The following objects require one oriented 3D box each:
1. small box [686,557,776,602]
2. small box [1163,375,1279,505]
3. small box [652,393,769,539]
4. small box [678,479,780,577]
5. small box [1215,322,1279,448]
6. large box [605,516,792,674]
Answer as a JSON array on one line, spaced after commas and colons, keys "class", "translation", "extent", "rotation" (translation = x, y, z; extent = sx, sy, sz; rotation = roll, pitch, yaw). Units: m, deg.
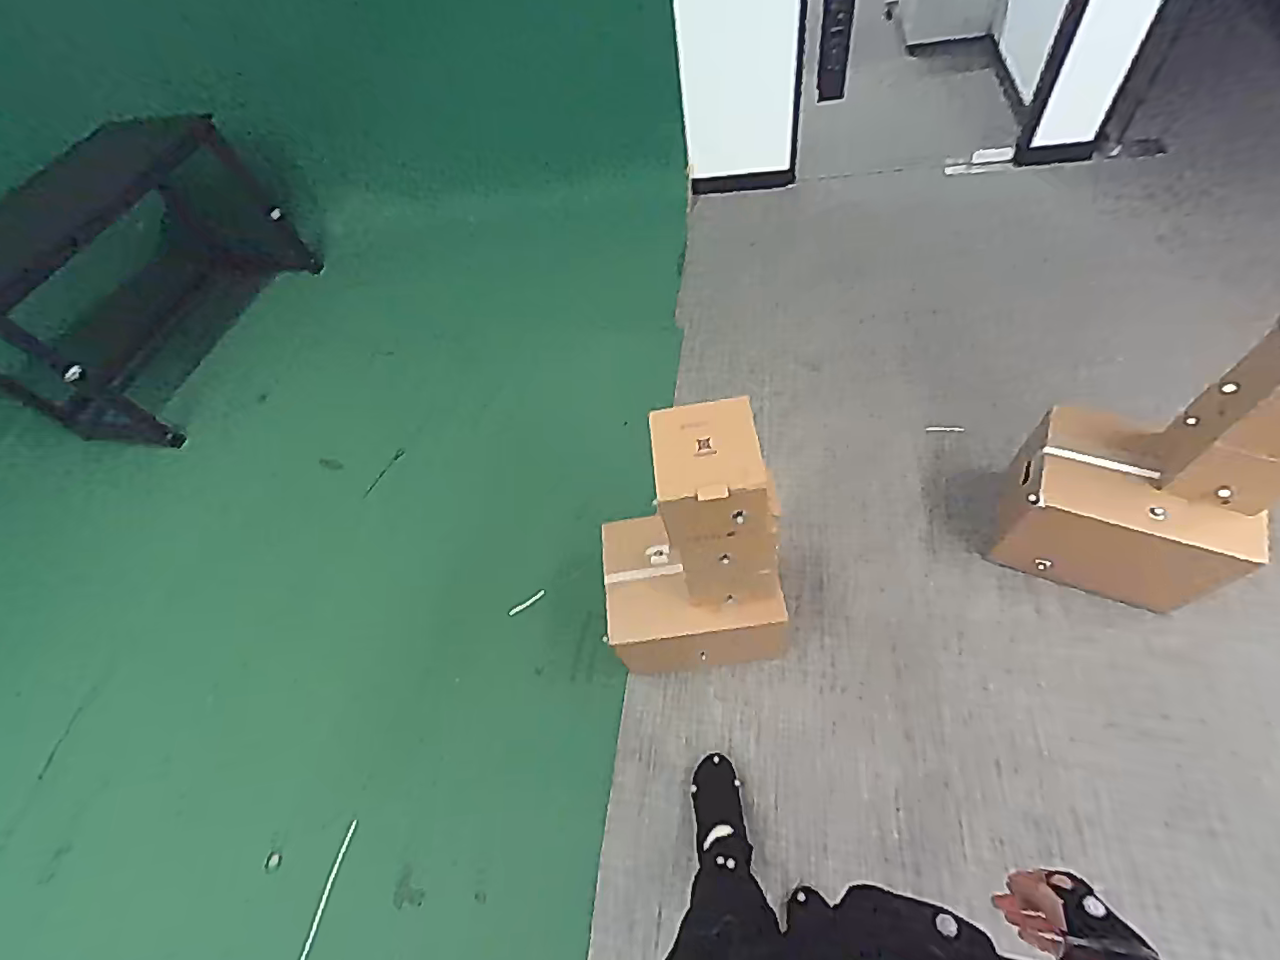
[{"class": "small box", "translation": [0.191, 0.156, 1.171], "extent": [0.179, 0.176, 0.168], "rotation": [-6, 57, 8]}, {"class": "small box", "translation": [1.221, -0.079, 1.104], "extent": [0.168, 0.176, 0.179], "rotation": [19, 62, 23]}, {"class": "small box", "translation": [0.119, -0.014, 0.900], "extent": [0.168, 0.176, 0.179], "rotation": [-9, 56, 7]}, {"class": "small box", "translation": [0.161, 0.070, 1.034], "extent": [0.179, 0.176, 0.168], "rotation": [-11, 57, 7]}, {"class": "small box", "translation": [1.202, -0.165, 0.968], "extent": [0.179, 0.176, 0.168], "rotation": [20, 62, 24]}, {"class": "large box", "translation": [0.150, 0.286, 1.392], "extent": [0.408, 0.320, 0.320], "rotation": [-11, 55, 7]}]
